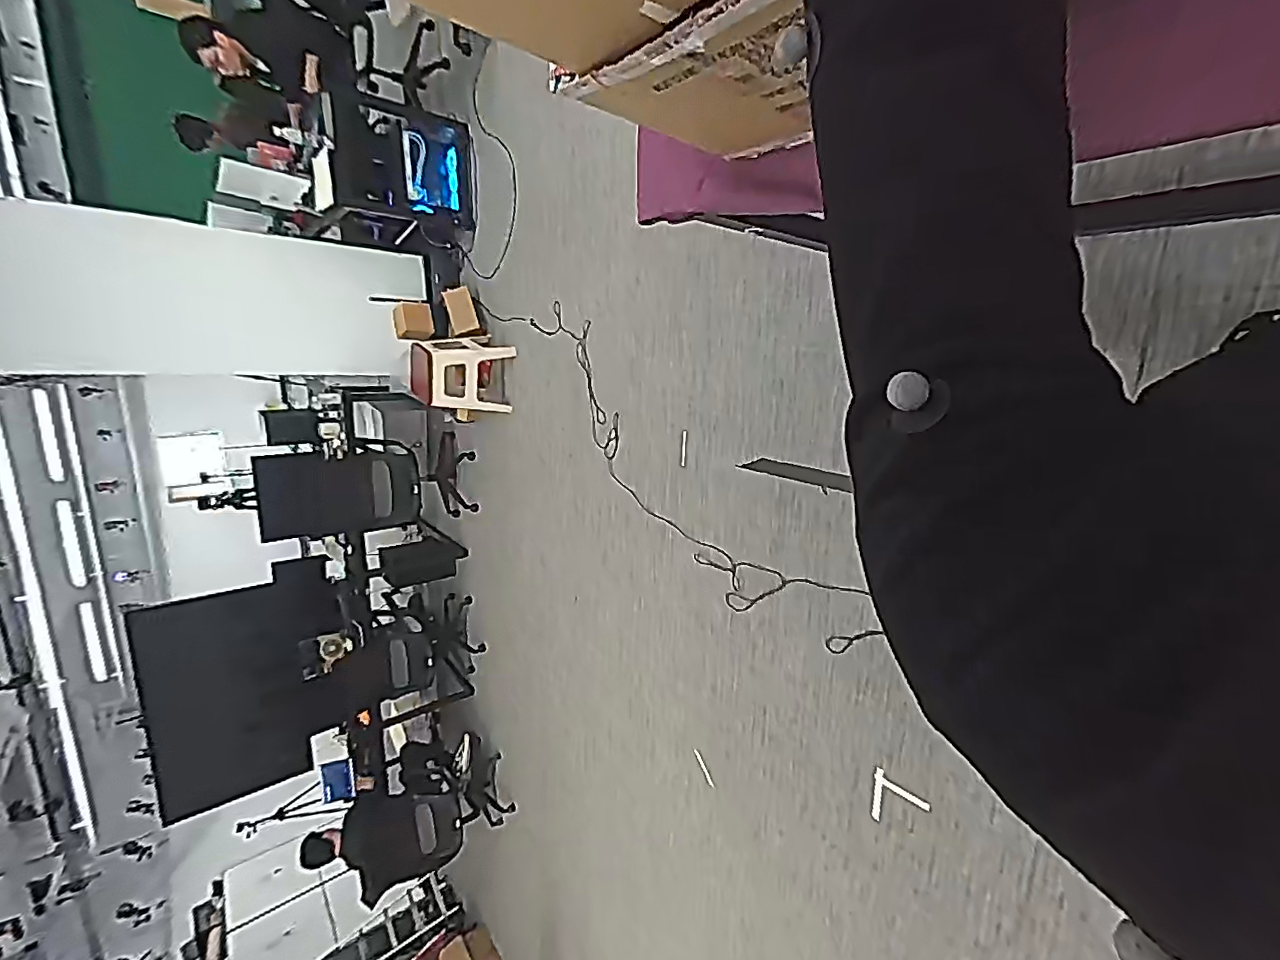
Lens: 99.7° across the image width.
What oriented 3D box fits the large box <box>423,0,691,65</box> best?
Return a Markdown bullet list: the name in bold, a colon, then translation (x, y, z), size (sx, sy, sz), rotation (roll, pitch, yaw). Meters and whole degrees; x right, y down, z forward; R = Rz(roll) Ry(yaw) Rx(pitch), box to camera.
- **large box**: translation (-0.074, -0.605, 0.357), size (0.320, 0.320, 0.408), rotation (17, 111, 50)
